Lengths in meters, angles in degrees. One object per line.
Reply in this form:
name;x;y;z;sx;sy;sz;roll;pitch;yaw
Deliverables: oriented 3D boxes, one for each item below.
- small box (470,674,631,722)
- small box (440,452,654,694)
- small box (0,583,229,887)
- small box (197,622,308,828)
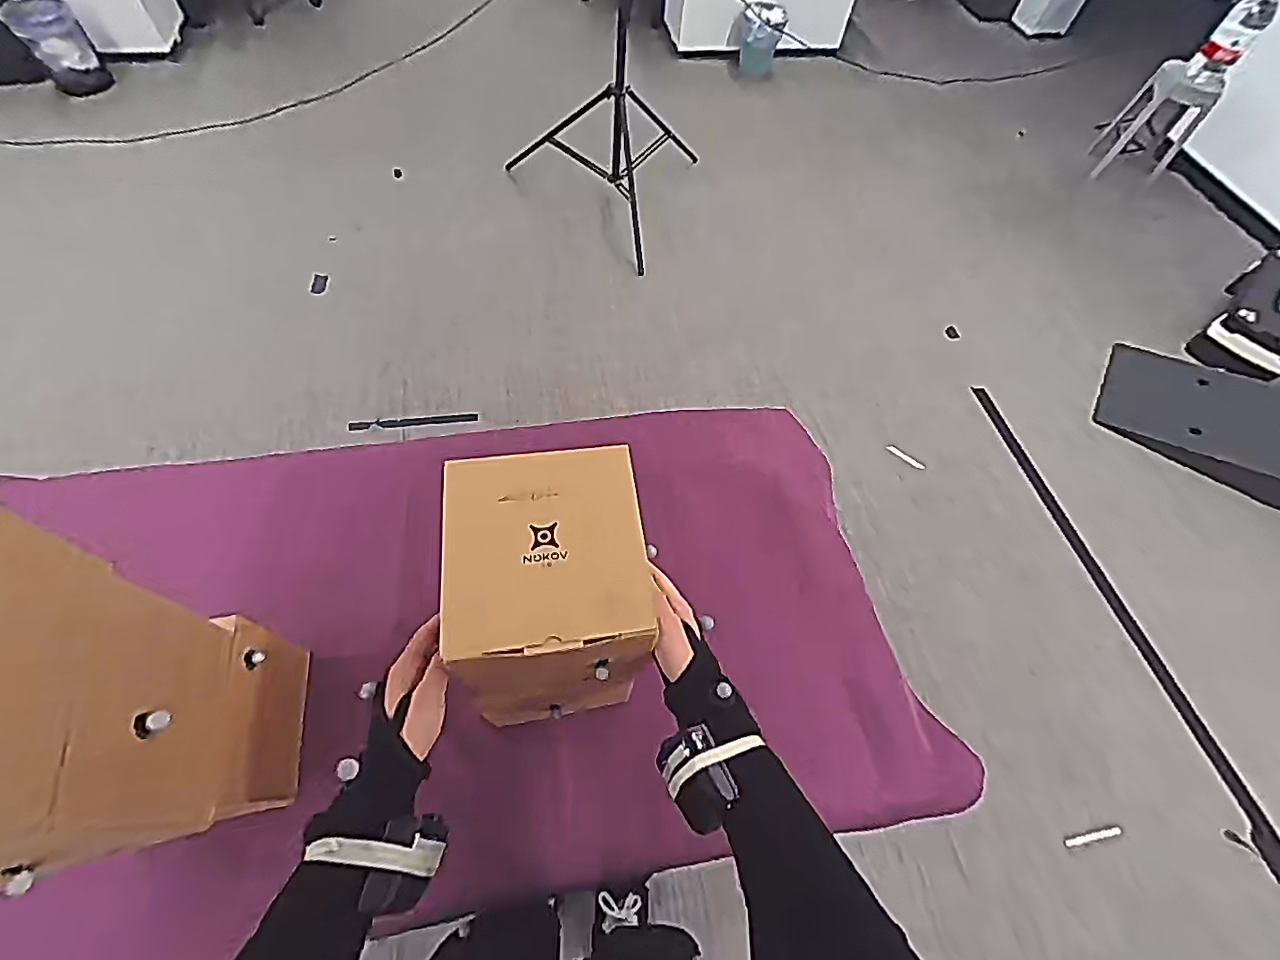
small box;-0.107;0.184;0.652;0.168;0.176;0.179;-8;60;-10
small box;-0.086;0.096;0.517;0.168;0.176;0.179;-6;59;-9
small box;-0.460;0.205;0.423;0.168;0.176;0.179;-12;62;-12
small box;-0.480;0.270;0.573;0.168;0.176;0.179;-8;60;-10
